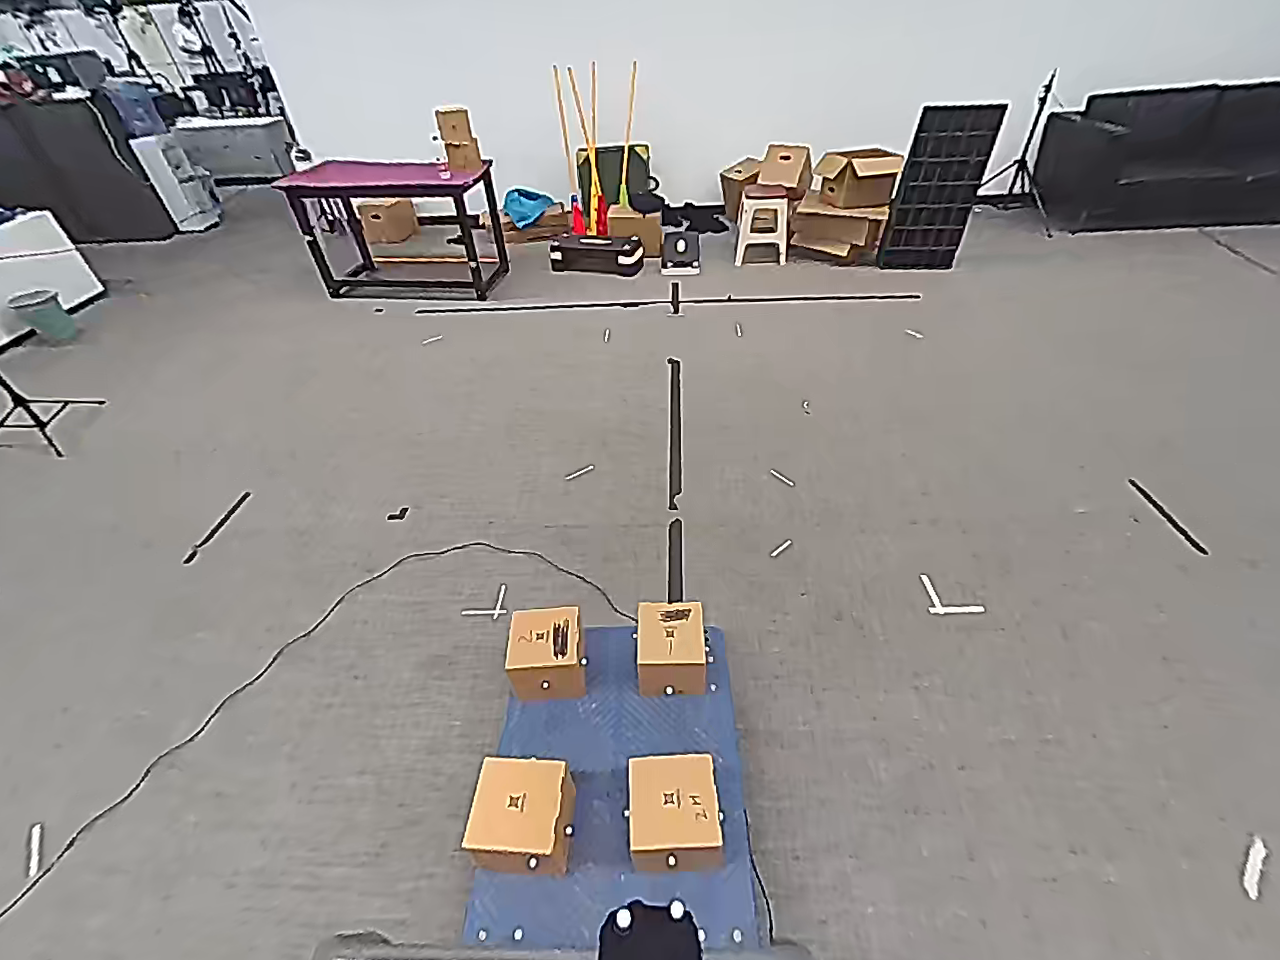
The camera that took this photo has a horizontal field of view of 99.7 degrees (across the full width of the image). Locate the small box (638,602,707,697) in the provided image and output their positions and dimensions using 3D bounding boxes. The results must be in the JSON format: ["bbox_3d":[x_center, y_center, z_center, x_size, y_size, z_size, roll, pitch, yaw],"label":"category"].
[{"bbox_3d":[0.082,0.435,1.392,0.168,0.176,0.179,-1,43,3],"label":"small box"}]

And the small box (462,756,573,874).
[{"bbox_3d":[-0.242,0.695,1.120,0.179,0.176,0.168,2,41,3],"label":"small box"}]

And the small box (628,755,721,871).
[{"bbox_3d":[0.067,0.686,1.111,0.179,0.176,0.168,-3,42,1],"label":"small box"}]
